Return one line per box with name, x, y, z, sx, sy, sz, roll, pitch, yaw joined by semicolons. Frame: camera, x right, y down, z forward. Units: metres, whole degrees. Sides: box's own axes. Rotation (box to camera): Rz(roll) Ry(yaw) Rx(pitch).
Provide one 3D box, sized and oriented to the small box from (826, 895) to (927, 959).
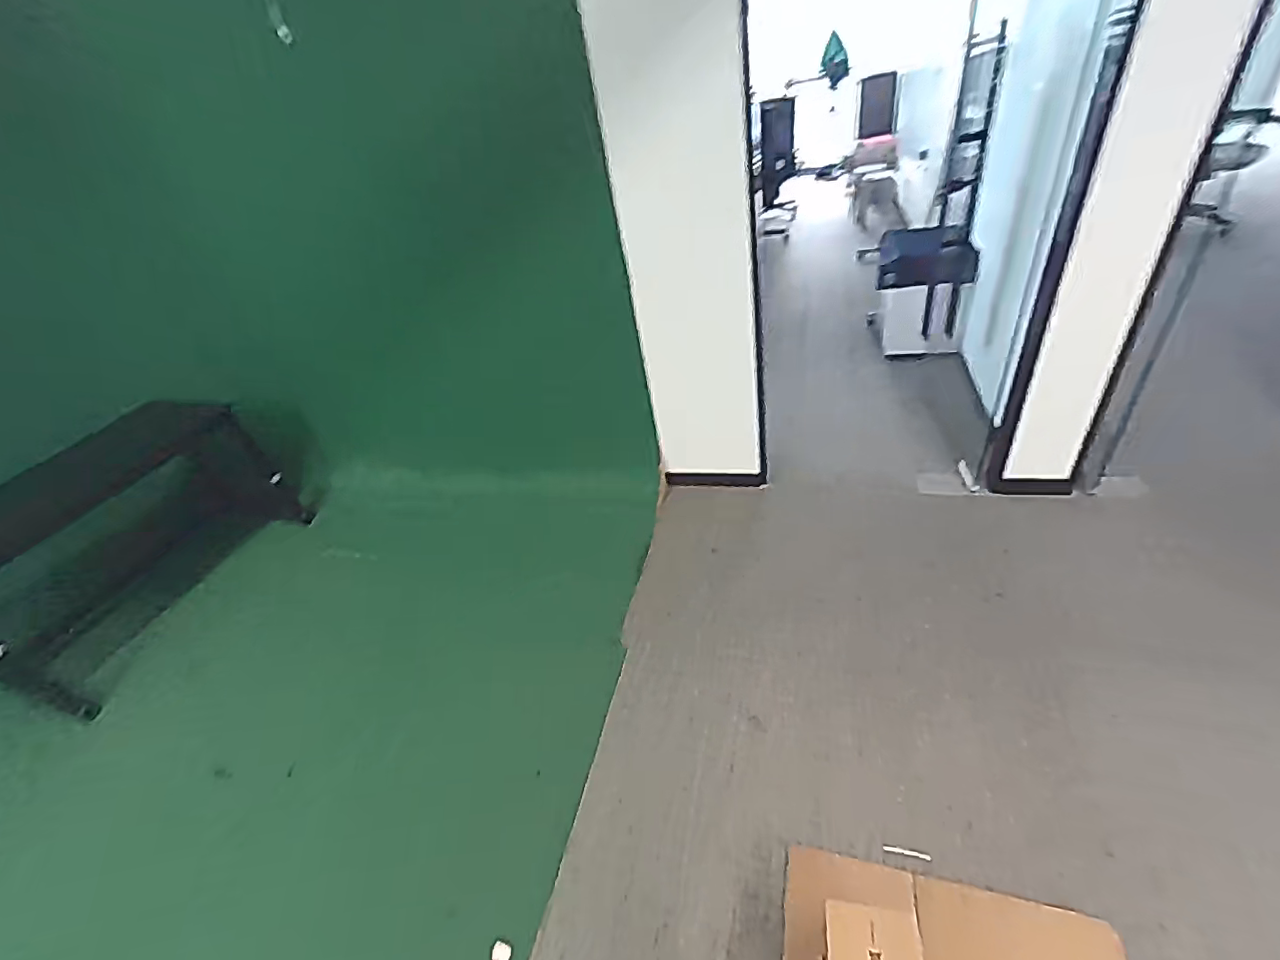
small box;0.438;0.919;1.007;0.168;0.176;0.179;0;39;16
